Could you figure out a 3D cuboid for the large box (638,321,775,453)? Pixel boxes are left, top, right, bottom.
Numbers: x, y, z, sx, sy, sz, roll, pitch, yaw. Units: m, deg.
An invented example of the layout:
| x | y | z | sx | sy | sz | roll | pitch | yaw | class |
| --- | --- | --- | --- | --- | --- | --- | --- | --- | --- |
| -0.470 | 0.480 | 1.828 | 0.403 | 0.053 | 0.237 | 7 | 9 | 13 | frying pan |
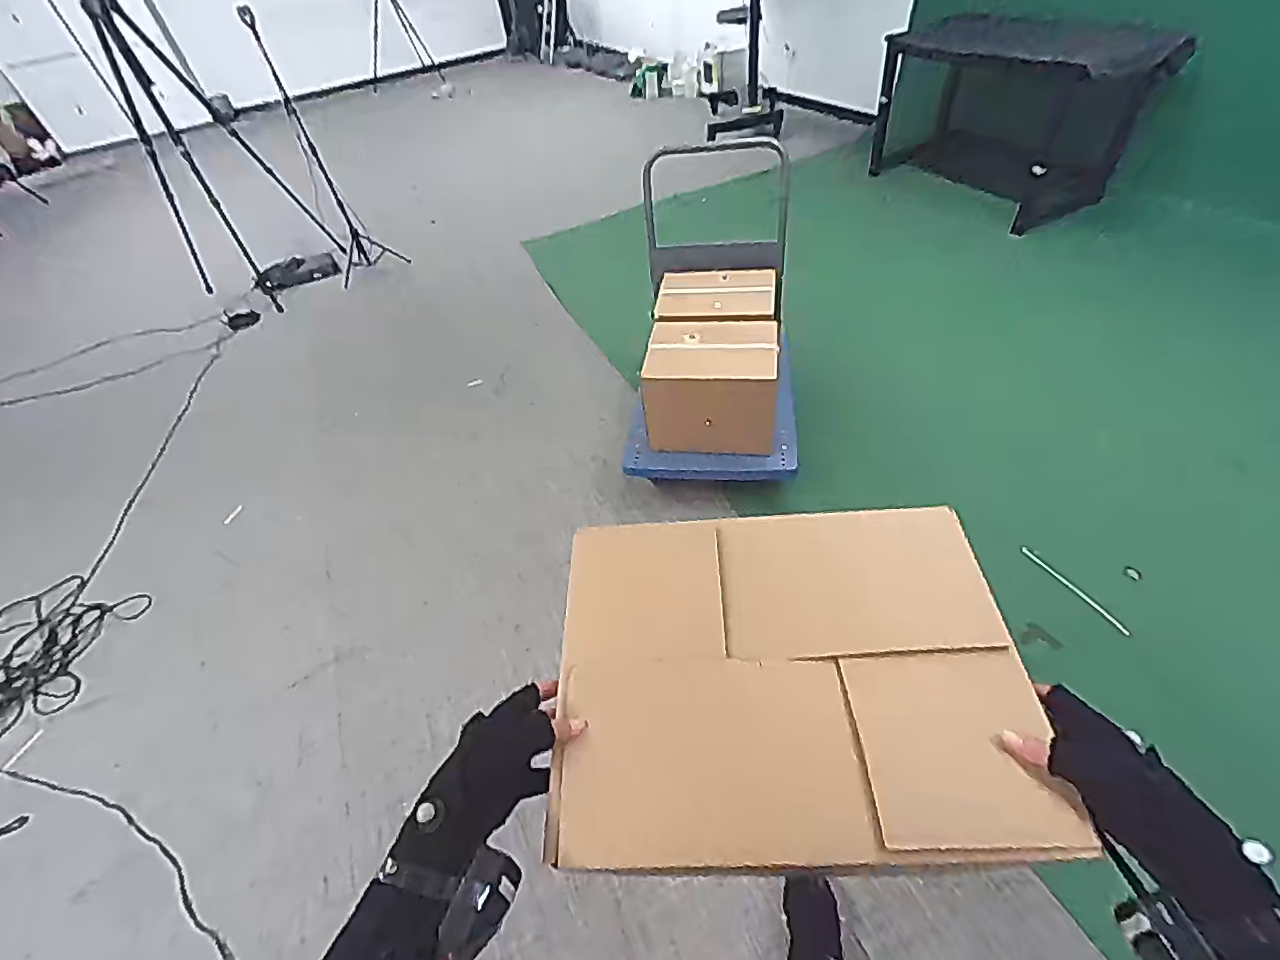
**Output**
| x | y | z | sx | sy | sz | roll | pitch | yaw | class |
| --- | --- | --- | --- | --- | --- | --- | --- | --- | --- |
| 0.233 | -0.303 | 1.782 | 0.408 | 0.320 | 0.320 | 2 | 48 | 13 | large box |
